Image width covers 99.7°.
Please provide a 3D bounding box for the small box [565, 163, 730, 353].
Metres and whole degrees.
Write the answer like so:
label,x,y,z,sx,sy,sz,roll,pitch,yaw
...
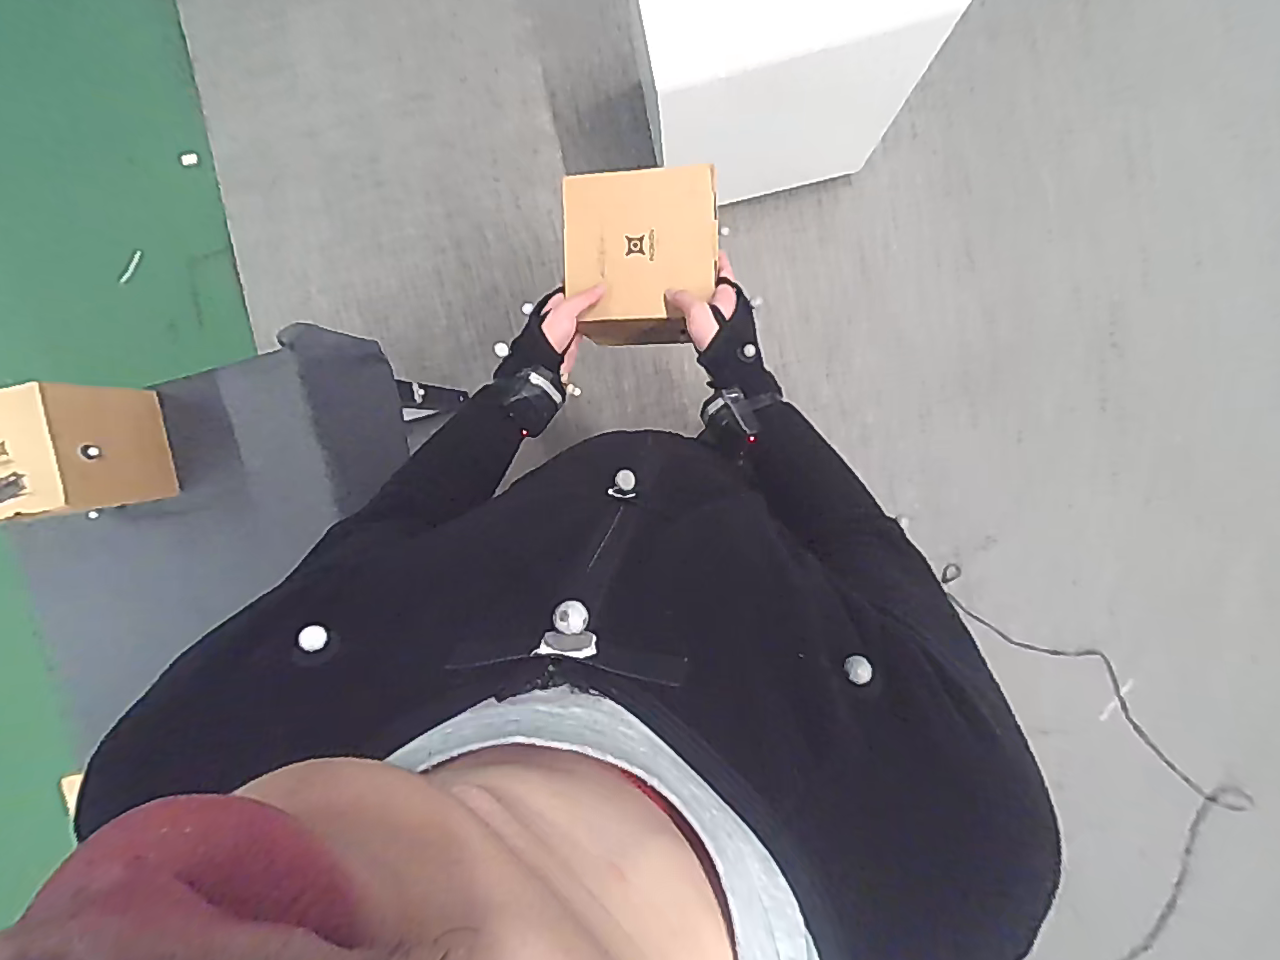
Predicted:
label,x,y,z,sx,sy,sz,roll,pitch,yaw
small box,0.015,-0.258,0.668,0.179,0.176,0.168,-3,92,7
